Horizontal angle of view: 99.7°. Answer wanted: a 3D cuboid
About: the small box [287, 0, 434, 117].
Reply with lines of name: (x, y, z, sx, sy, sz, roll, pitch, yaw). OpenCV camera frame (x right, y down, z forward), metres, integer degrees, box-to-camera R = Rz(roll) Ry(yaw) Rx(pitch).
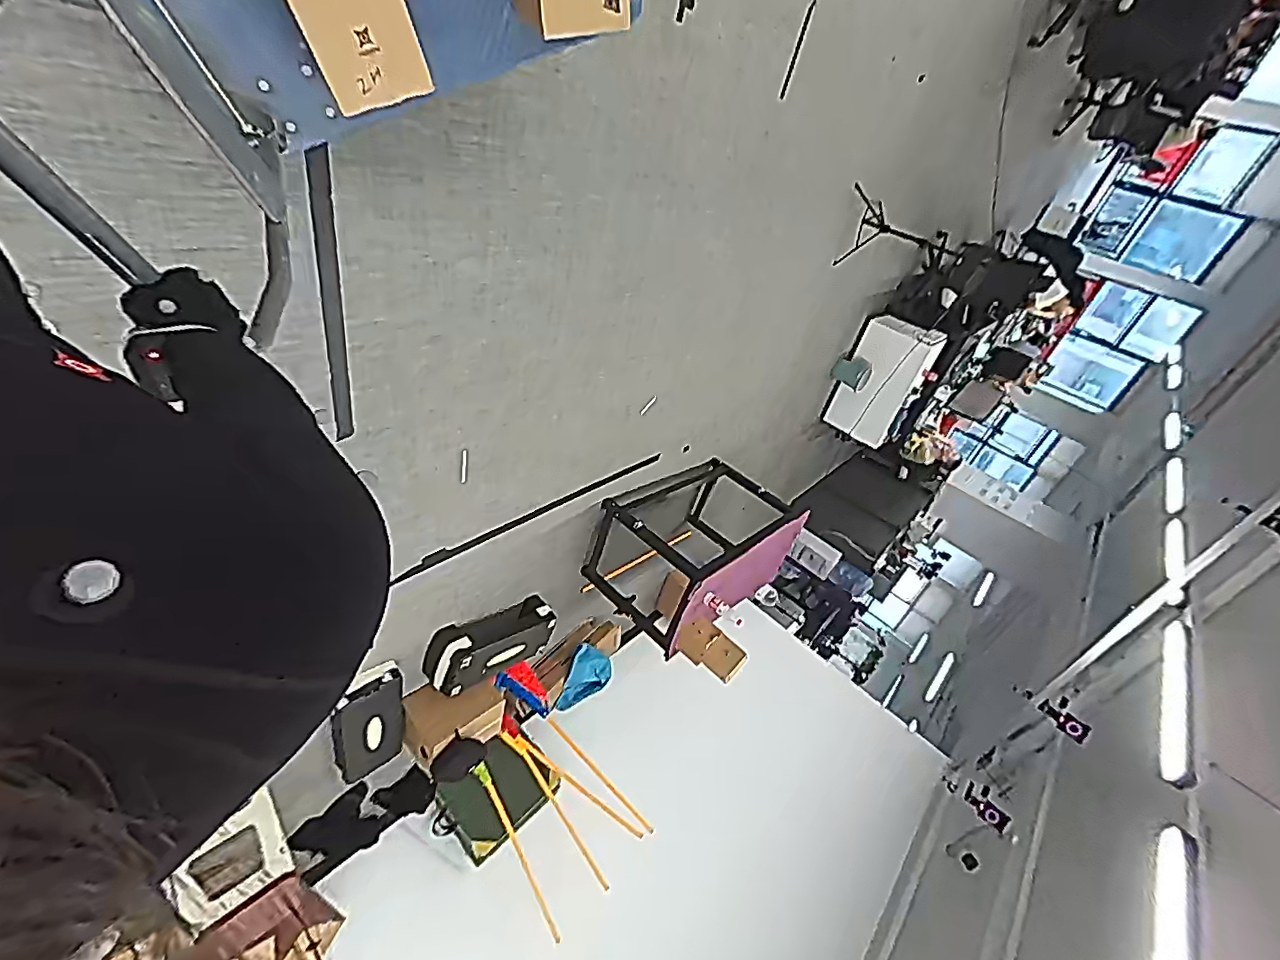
small box: (-0.477, -0.756, 0.910, 0.168, 0.176, 0.179, -25, 147, -11)

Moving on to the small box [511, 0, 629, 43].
small box: (-0.132, -0.924, 0.977, 0.179, 0.176, 0.168, -20, 146, -17)
